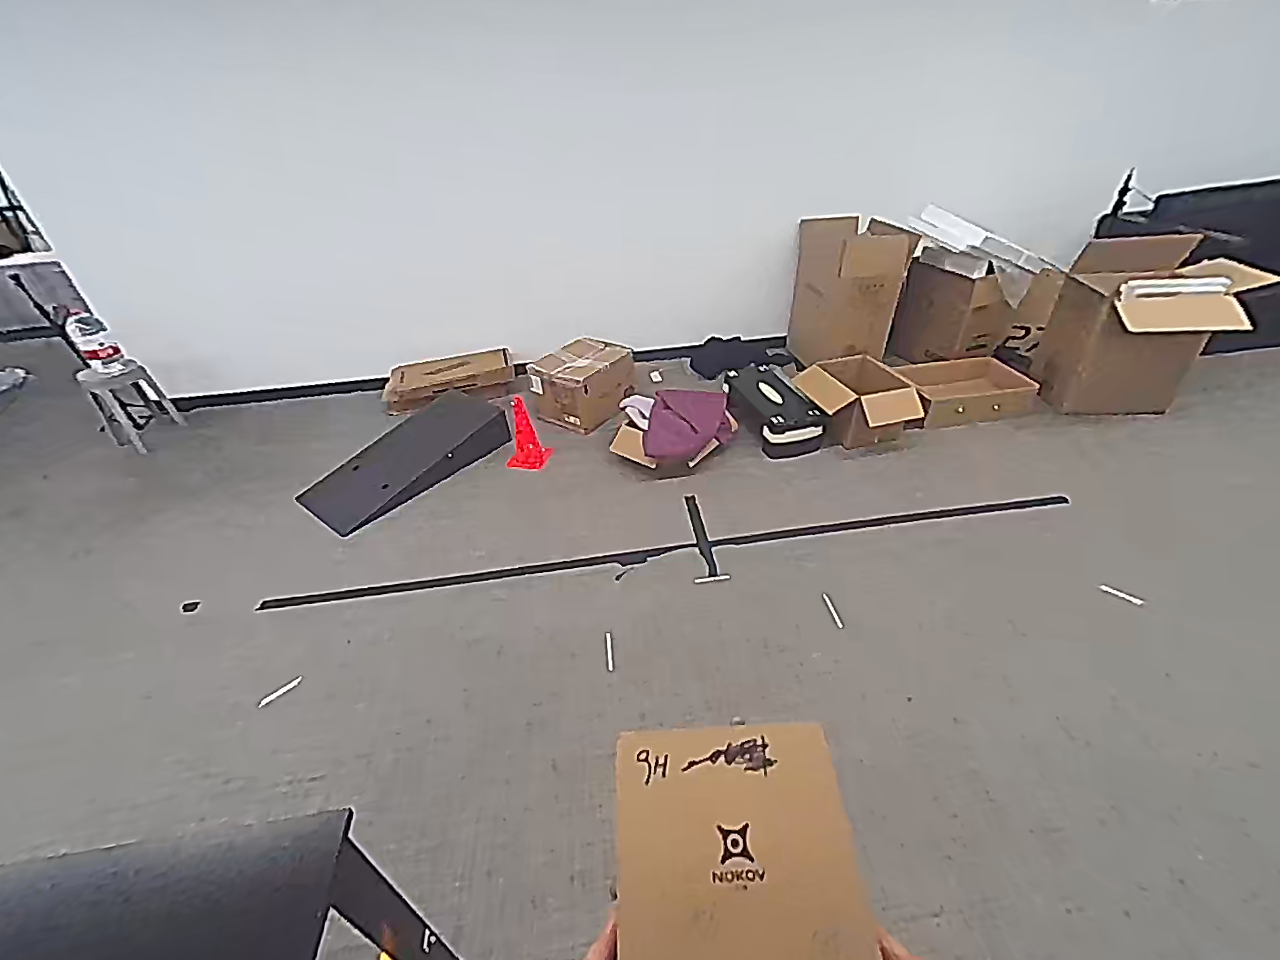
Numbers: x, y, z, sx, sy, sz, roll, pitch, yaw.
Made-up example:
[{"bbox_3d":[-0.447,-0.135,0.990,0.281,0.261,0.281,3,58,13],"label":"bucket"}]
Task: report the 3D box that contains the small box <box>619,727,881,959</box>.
[{"bbox_3d":[0.073,0.316,0.430,0.168,0.176,0.179,-4,49,1],"label":"small box"}]
